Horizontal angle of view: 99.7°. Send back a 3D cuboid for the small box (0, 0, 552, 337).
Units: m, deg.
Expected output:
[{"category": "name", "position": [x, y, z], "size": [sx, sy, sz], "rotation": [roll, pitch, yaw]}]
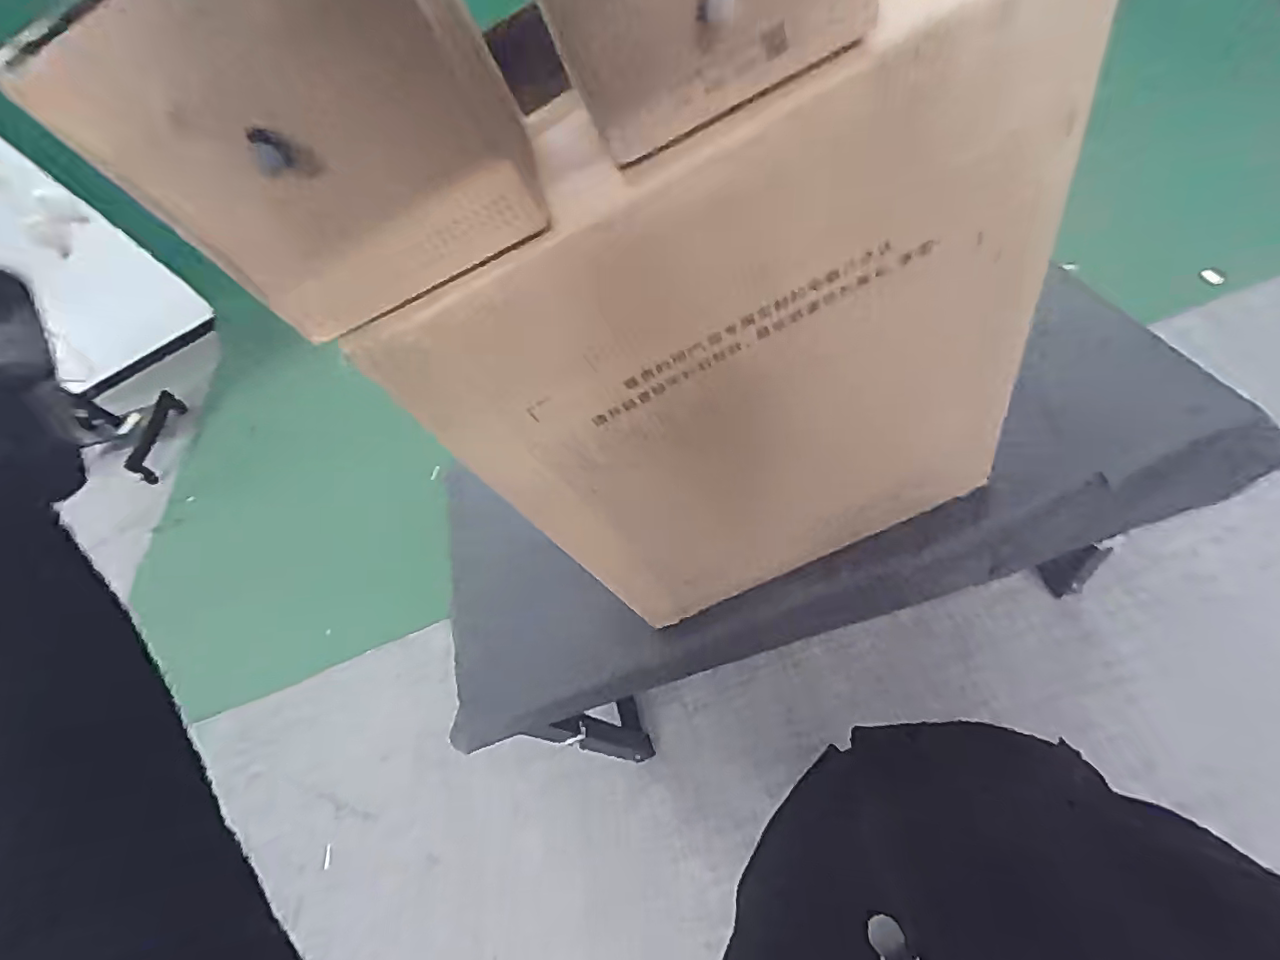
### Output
[{"category": "small box", "position": [-0.174, -0.217, 0.317], "size": [0.179, 0.176, 0.168], "rotation": [-22, 55, 10]}]
